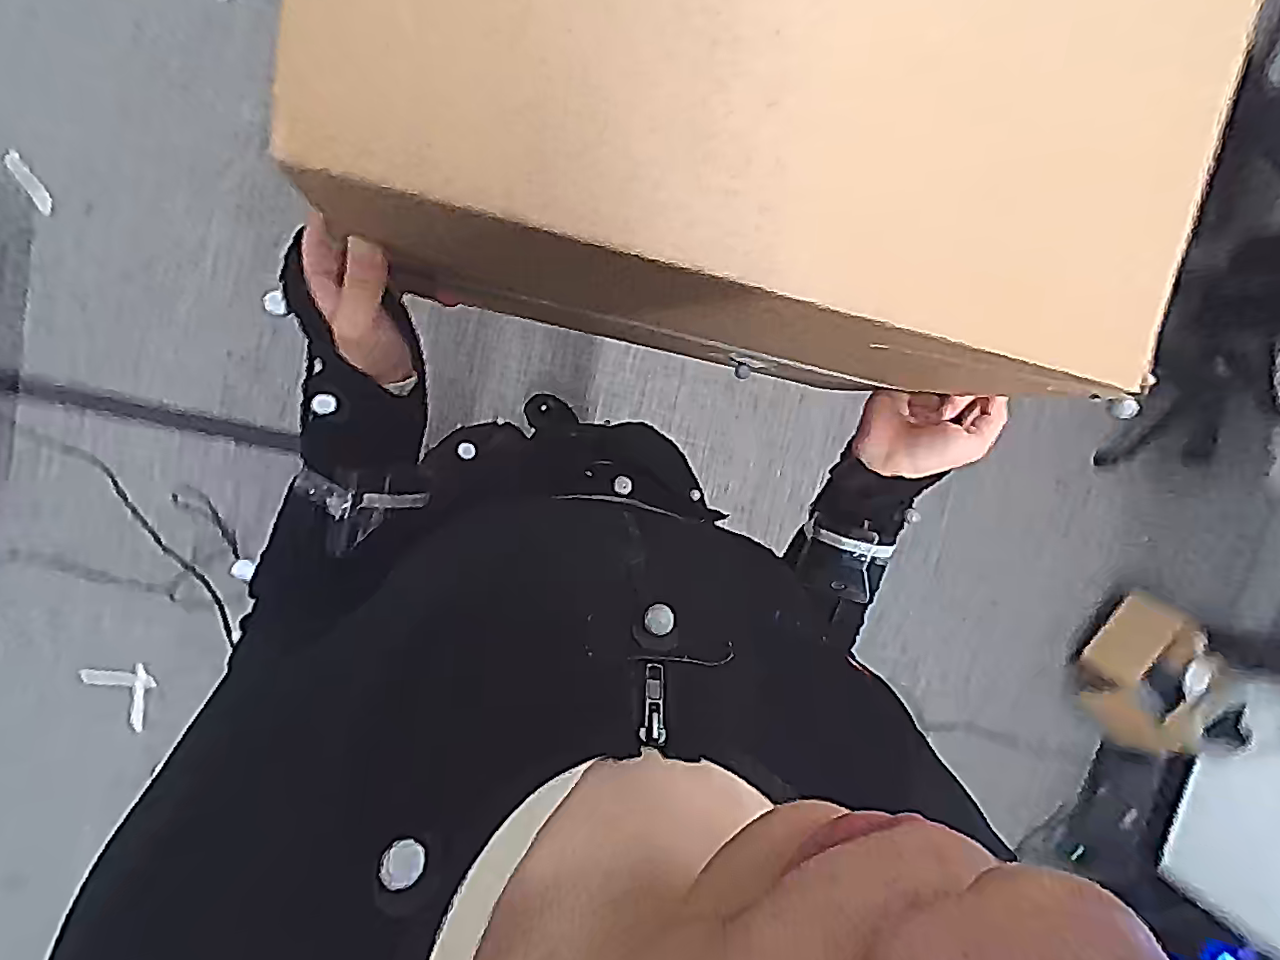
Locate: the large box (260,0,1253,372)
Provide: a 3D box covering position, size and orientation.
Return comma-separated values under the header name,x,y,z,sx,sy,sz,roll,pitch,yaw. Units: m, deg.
name,x,y,z,sx,sy,sz,roll,pitch,yaw
large box,0.056,-0.261,0.343,0.408,0.320,0.320,7,100,-14
